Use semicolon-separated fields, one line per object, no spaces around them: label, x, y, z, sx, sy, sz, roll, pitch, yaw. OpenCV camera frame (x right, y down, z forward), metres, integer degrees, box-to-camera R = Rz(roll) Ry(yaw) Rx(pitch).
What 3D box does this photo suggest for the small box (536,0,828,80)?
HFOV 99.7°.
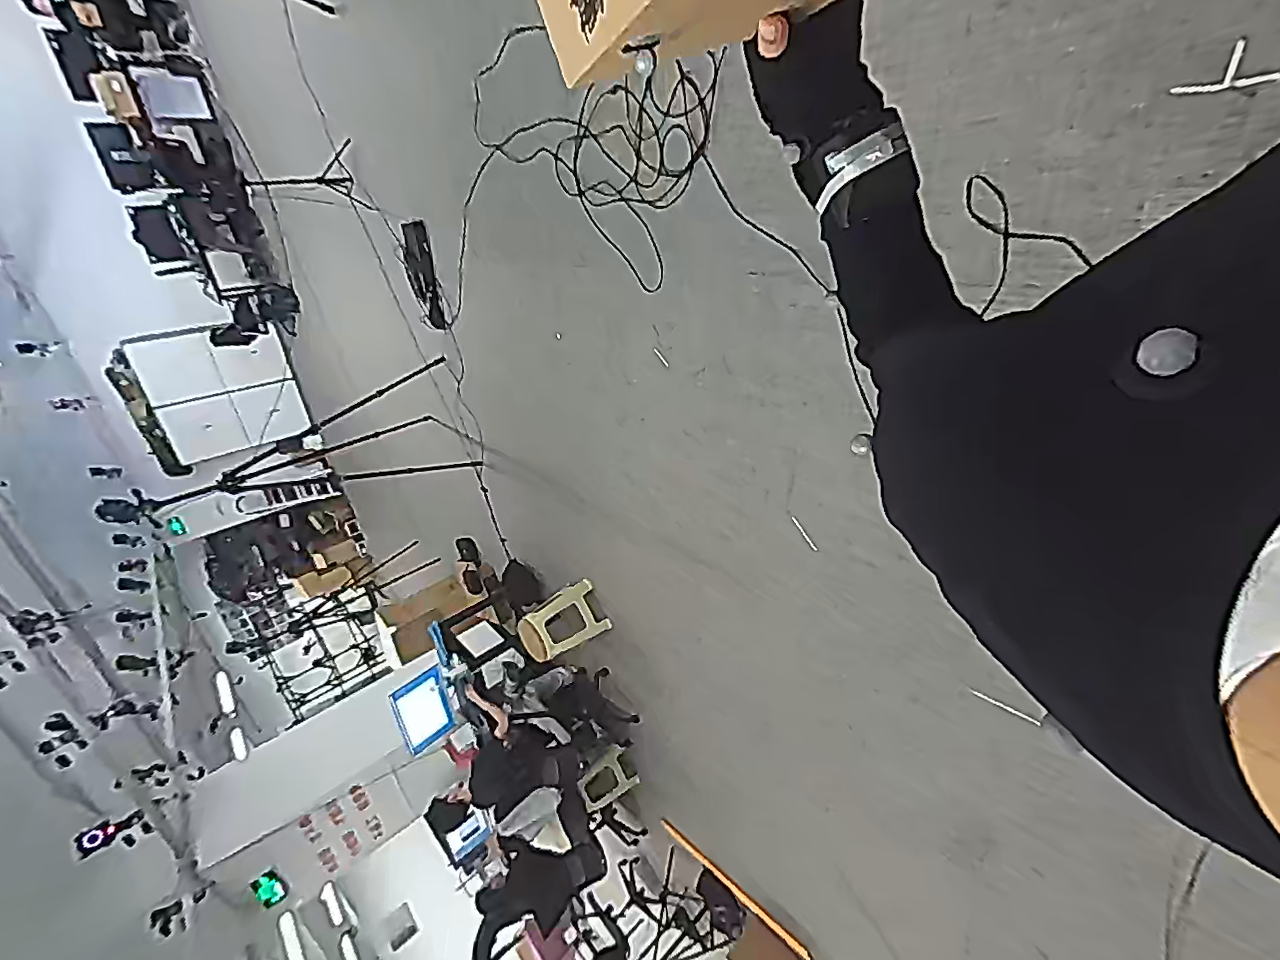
small box;0.035;-0.325;0.246;0.168;0.176;0.179;36;149;59
